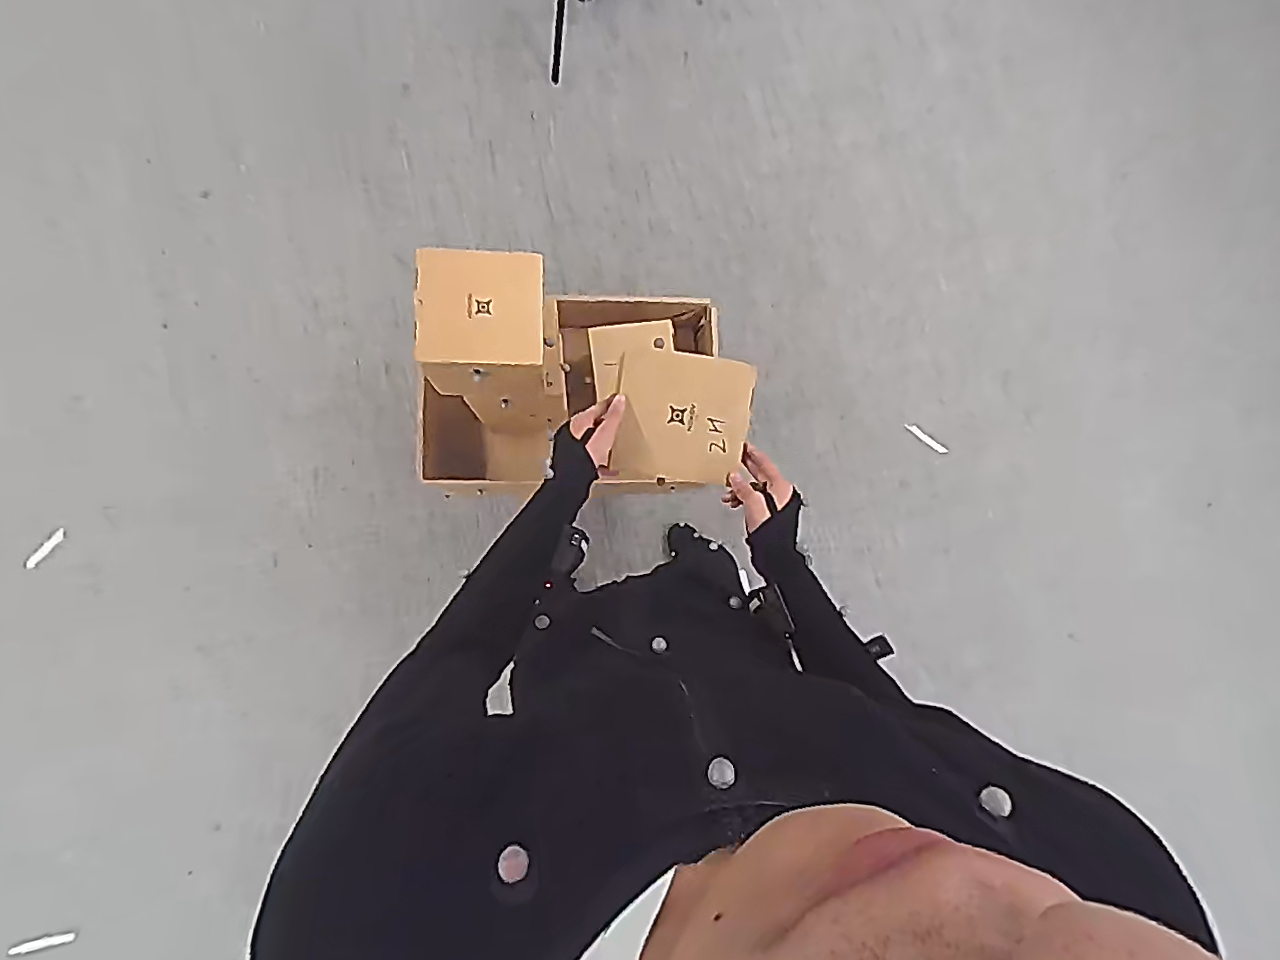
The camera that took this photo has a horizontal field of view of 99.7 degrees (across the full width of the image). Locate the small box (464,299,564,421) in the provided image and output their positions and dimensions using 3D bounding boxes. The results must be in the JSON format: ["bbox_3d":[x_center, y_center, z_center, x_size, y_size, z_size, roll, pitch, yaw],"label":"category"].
[{"bbox_3d":[-0.227,-0.214,0.992,0.168,0.176,0.179,-3,84,-7],"label":"small box"}]

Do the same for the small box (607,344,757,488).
[{"bbox_3d":[0.048,-0.090,0.775,0.179,0.176,0.168,8,97,-6],"label":"small box"}]

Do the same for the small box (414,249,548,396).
[{"bbox_3d":[-0.231,-0.230,0.828,0.179,0.176,0.168,0,84,-7],"label":"small box"}]
